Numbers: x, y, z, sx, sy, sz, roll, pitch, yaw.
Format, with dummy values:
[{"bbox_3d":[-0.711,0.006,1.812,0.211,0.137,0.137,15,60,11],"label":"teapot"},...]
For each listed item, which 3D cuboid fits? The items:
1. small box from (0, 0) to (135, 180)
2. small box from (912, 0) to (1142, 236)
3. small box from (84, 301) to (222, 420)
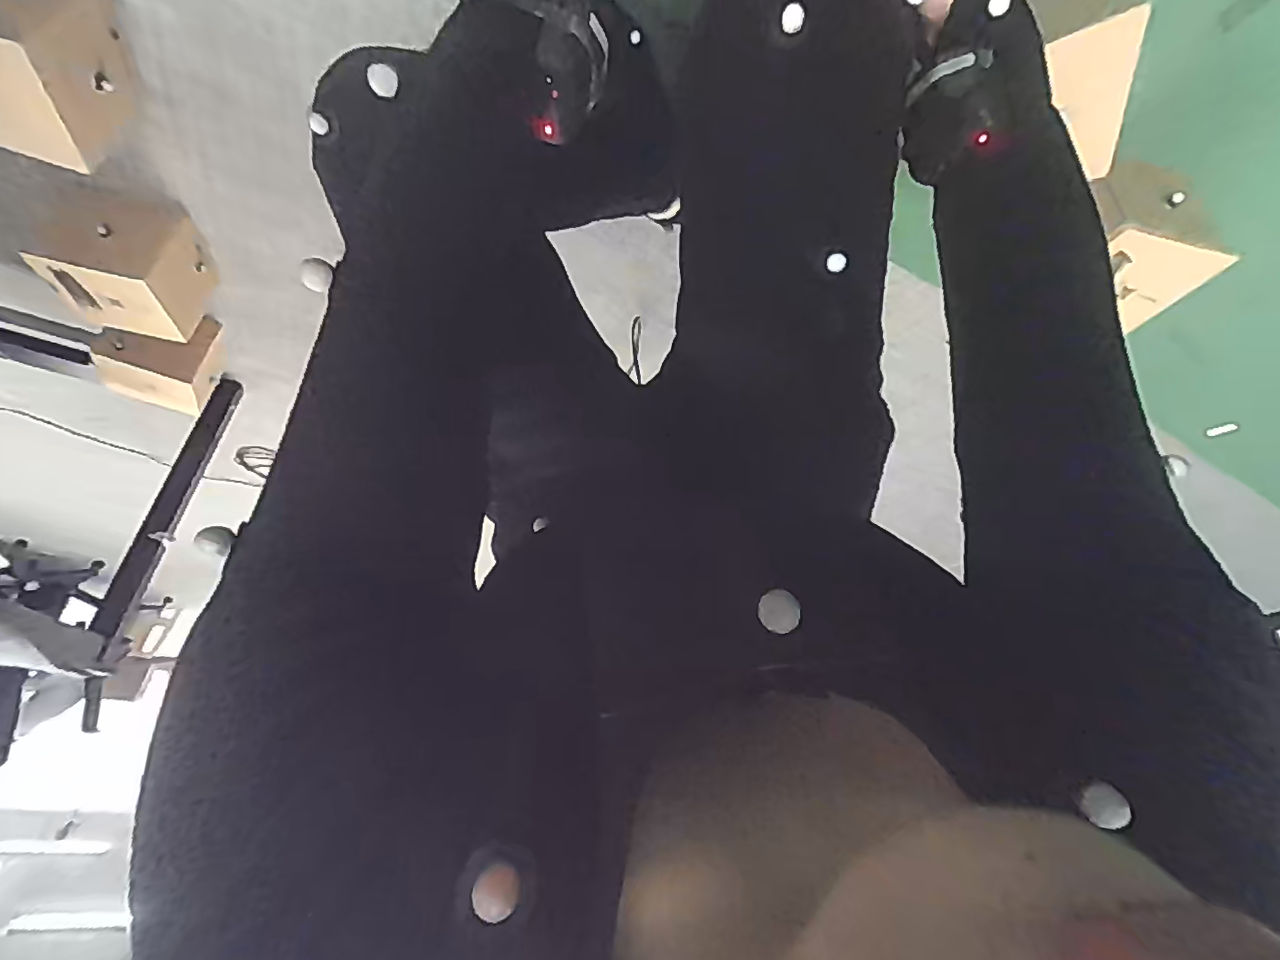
[{"bbox_3d":[-0.761,-0.514,0.648,0.179,0.176,0.168,15,151,-18],"label":"small box"},{"bbox_3d":[0.413,-0.423,0.610,0.168,0.176,0.179,-10,149,26],"label":"small box"},{"bbox_3d":[-1.063,-0.265,1.204,0.179,0.176,0.168,20,150,-26],"label":"small box"}]
